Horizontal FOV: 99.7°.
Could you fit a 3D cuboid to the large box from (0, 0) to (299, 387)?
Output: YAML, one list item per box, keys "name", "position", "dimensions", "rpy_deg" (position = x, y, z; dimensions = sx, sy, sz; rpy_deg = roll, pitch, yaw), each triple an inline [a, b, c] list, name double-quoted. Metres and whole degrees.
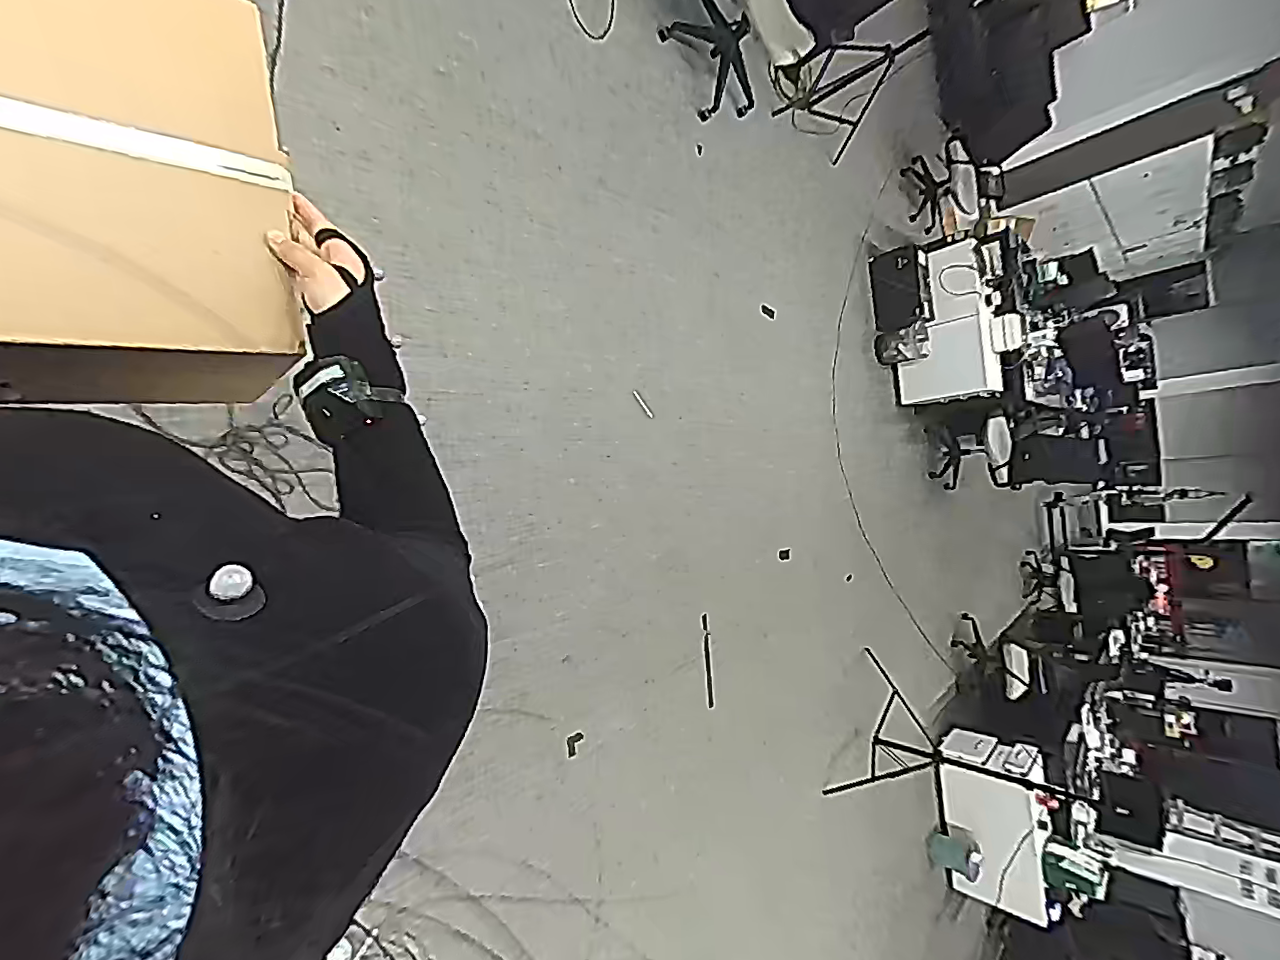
- name: "large box"
  position: [-0.578, -0.254, 0.469]
  dimensions: [0.408, 0.320, 0.320]
  rpy_deg: [-9, 94, -43]
